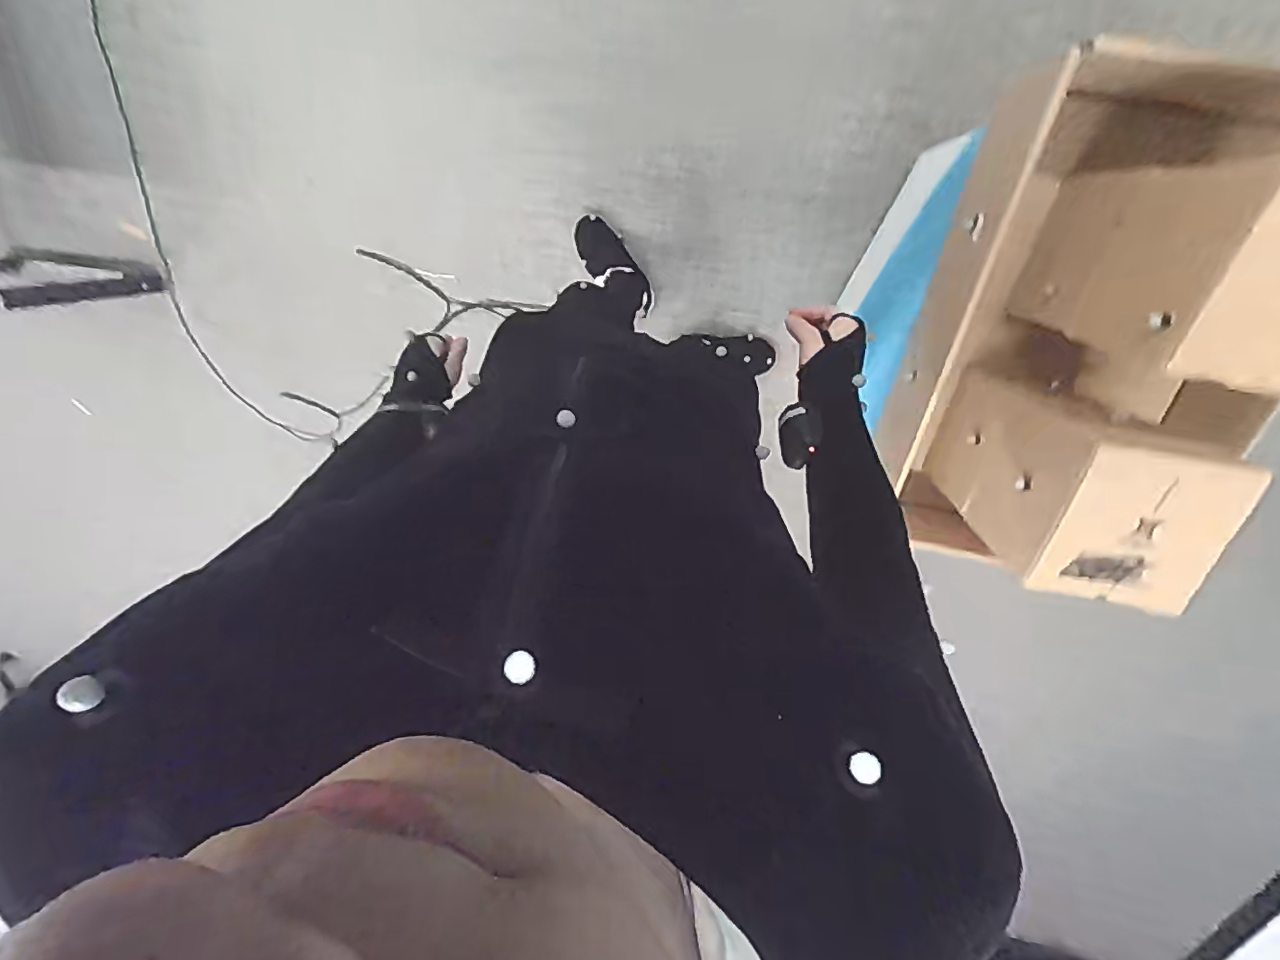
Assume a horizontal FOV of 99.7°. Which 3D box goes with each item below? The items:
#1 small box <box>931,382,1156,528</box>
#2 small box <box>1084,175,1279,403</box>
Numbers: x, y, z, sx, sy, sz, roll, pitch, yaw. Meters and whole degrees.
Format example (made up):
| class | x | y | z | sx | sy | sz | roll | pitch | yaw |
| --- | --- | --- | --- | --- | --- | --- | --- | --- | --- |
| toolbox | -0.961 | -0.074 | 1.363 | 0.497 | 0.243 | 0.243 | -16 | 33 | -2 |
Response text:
| class | x | y | z | sx | sy | sz | roll | pitch | yaw |
| --- | --- | --- | --- | --- | --- | --- | --- | --- | --- |
| small box | 0.548 | -0.029 | 0.770 | 0.168 | 0.176 | 0.179 | 13 | 114 | 3 |
| small box | 0.585 | -0.183 | 0.516 | 0.168 | 0.176 | 0.179 | 12 | 118 | 4 |
